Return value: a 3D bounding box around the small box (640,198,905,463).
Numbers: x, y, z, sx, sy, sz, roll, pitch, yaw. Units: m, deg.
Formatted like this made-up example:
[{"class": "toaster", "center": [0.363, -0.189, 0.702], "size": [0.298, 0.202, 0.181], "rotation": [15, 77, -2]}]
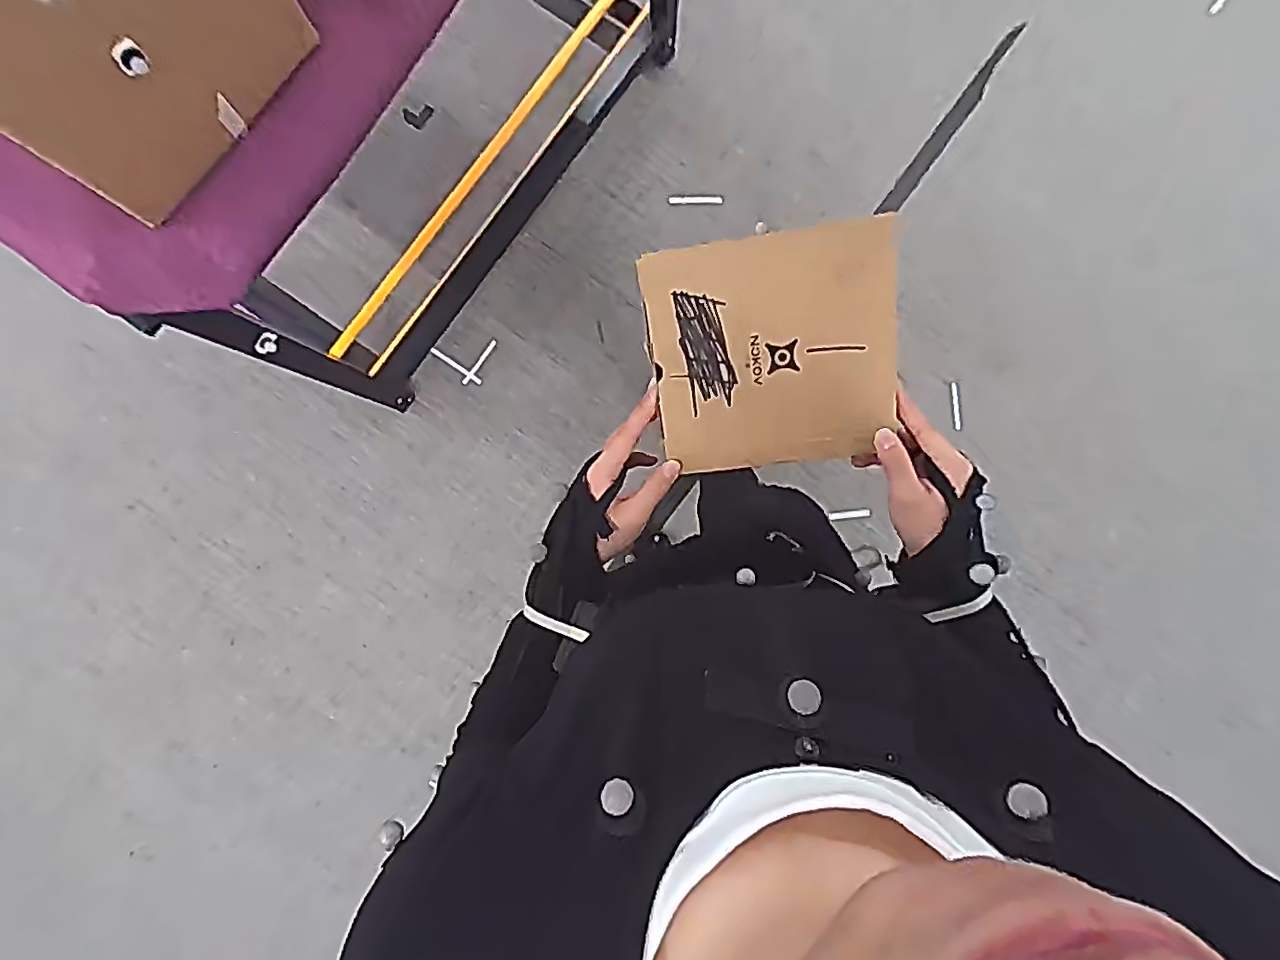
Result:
[{"class": "small box", "center": [0.104, -0.122, 0.459], "size": [0.179, 0.176, 0.168], "rotation": [-7, 109, 8]}]
